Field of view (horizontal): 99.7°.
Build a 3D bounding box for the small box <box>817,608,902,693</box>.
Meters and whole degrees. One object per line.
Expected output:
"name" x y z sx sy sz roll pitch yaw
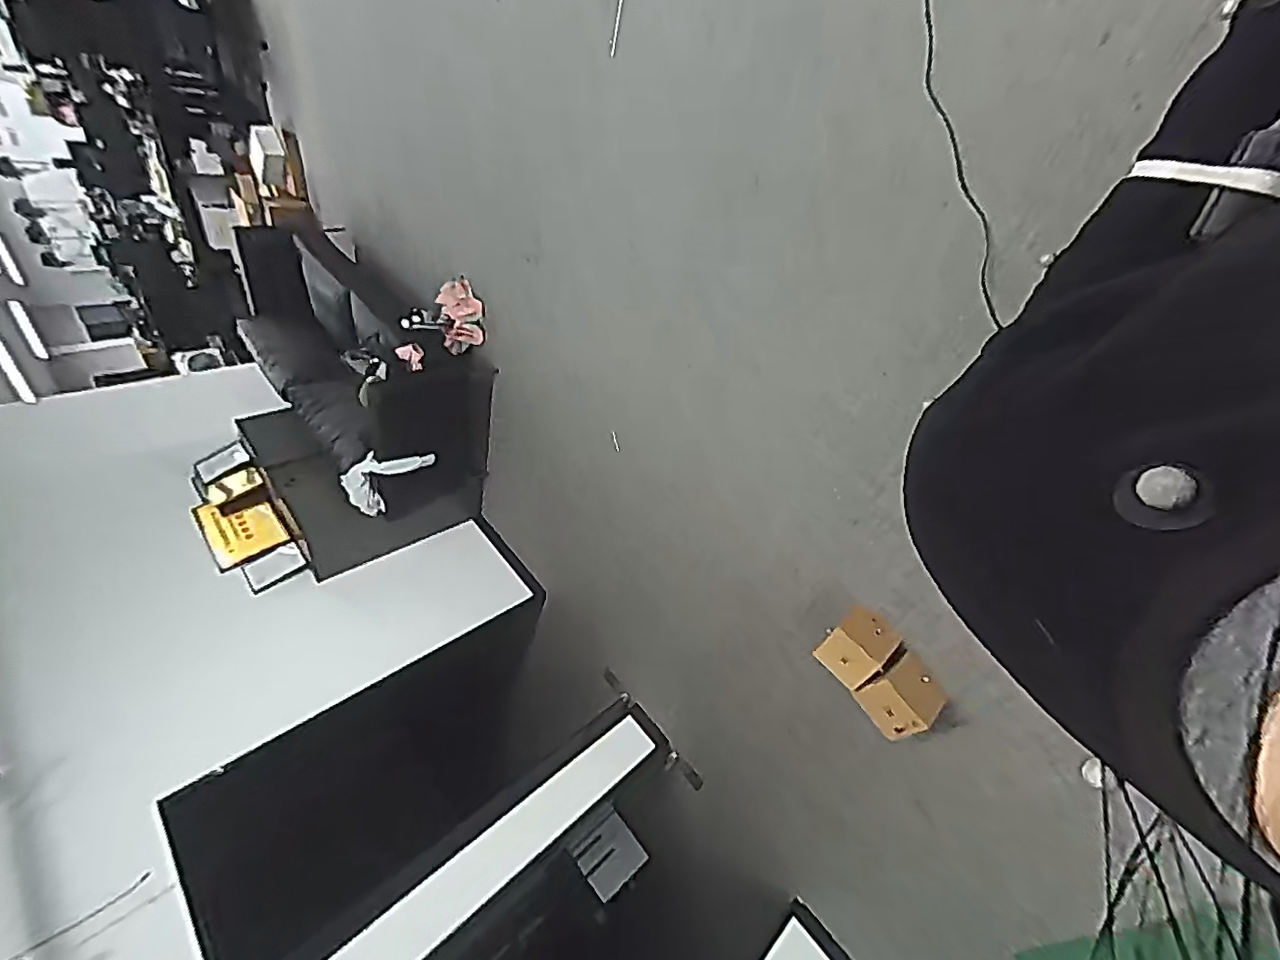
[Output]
"small box" 0.725 0.557 1.779 0.168 0.176 0.179 44 136 26
